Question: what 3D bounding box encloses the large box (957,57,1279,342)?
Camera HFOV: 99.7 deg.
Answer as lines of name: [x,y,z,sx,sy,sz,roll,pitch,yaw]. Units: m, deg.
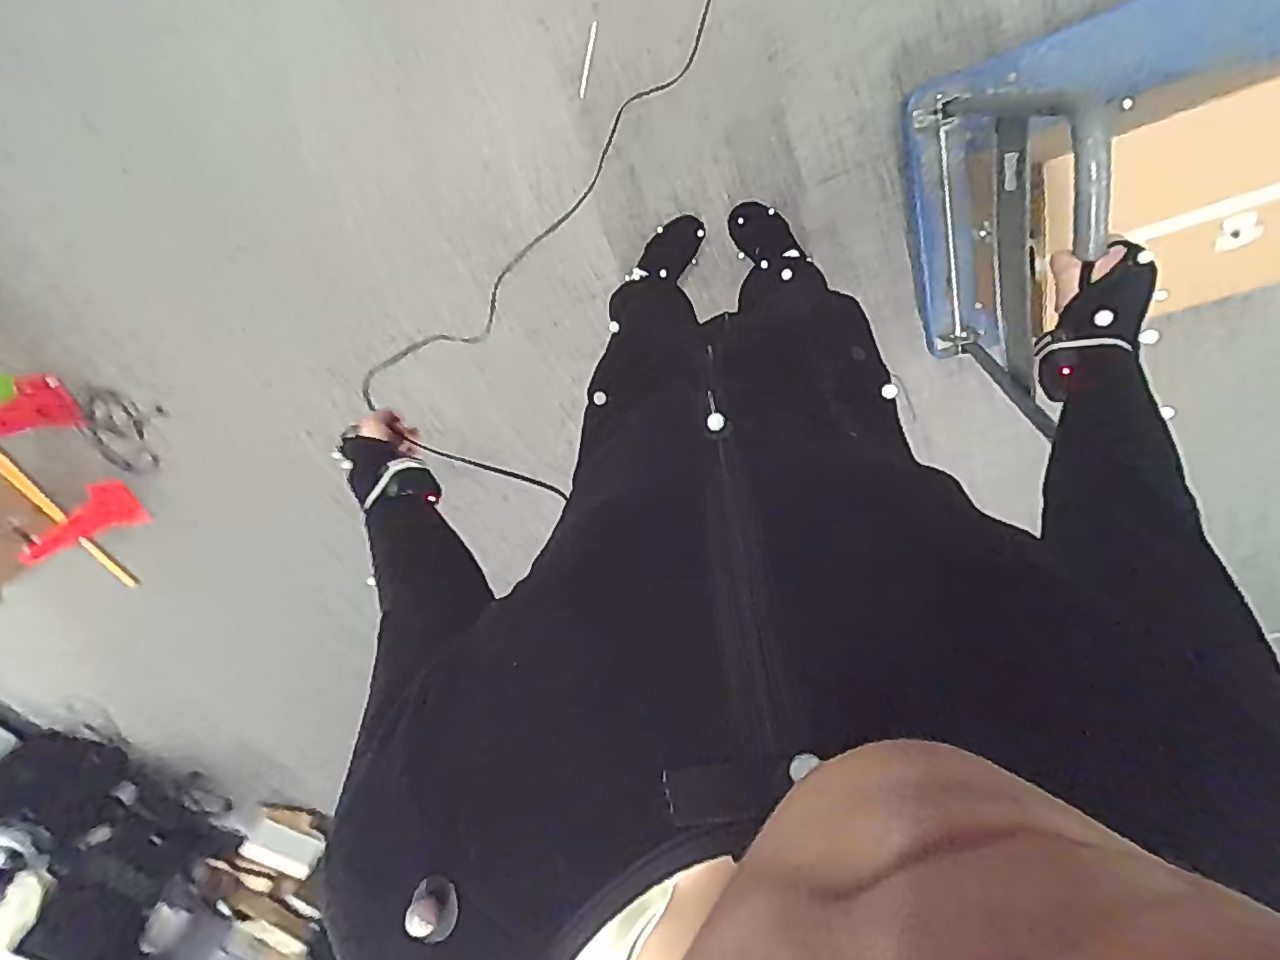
large box: [0.871,-0.503,0.998,0.408,0.320,0.320,-15,118,17]
